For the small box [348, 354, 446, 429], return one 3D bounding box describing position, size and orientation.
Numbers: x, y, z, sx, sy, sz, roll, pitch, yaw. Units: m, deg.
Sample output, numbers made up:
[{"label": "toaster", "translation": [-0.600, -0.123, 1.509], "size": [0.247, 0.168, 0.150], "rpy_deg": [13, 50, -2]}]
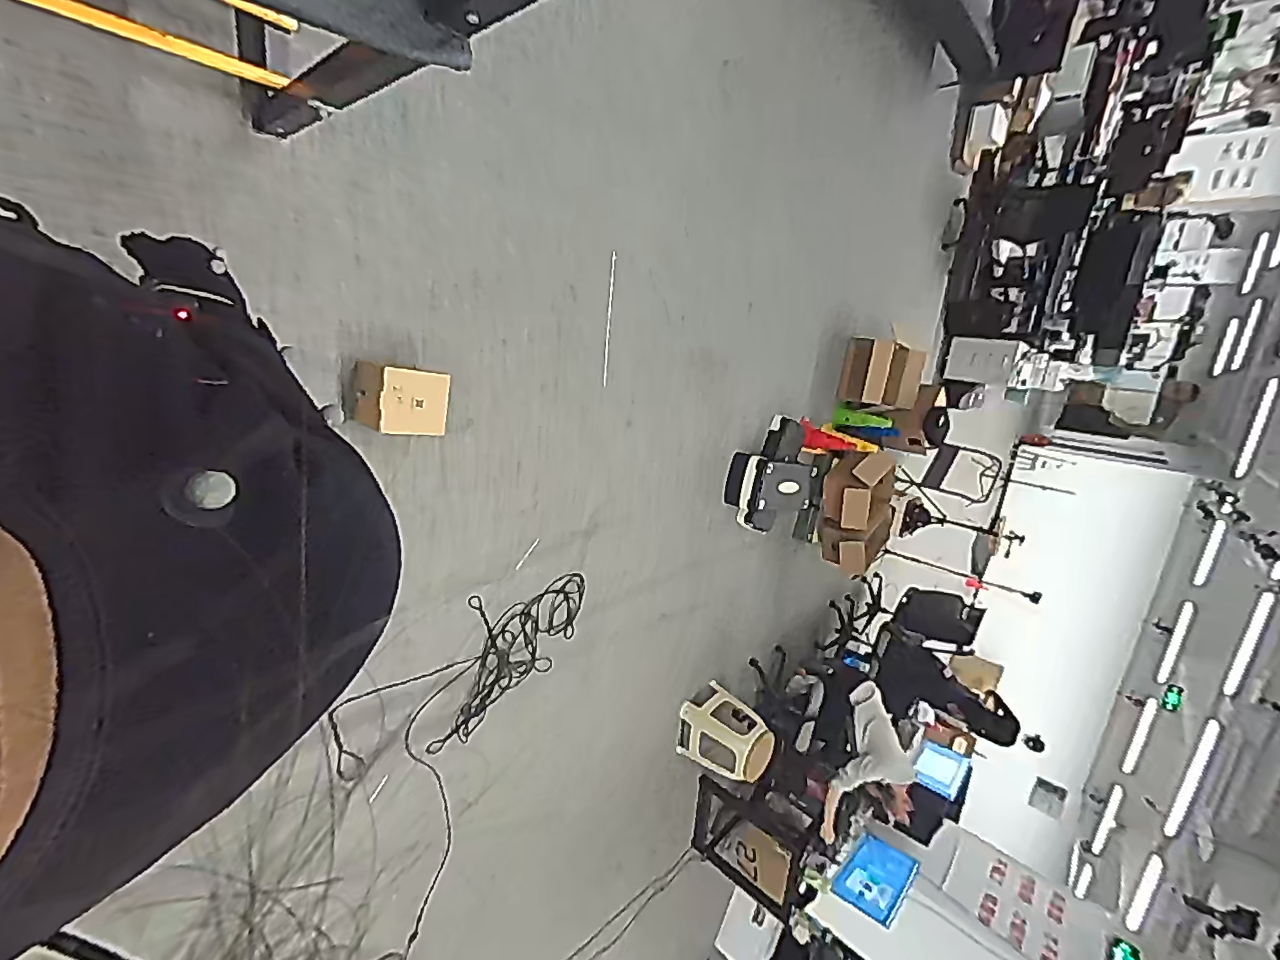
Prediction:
[{"label": "small box", "translation": [-0.643, -0.235, 1.428], "size": [0.179, 0.176, 0.168], "rpy_deg": [-1, 105, -48]}]
